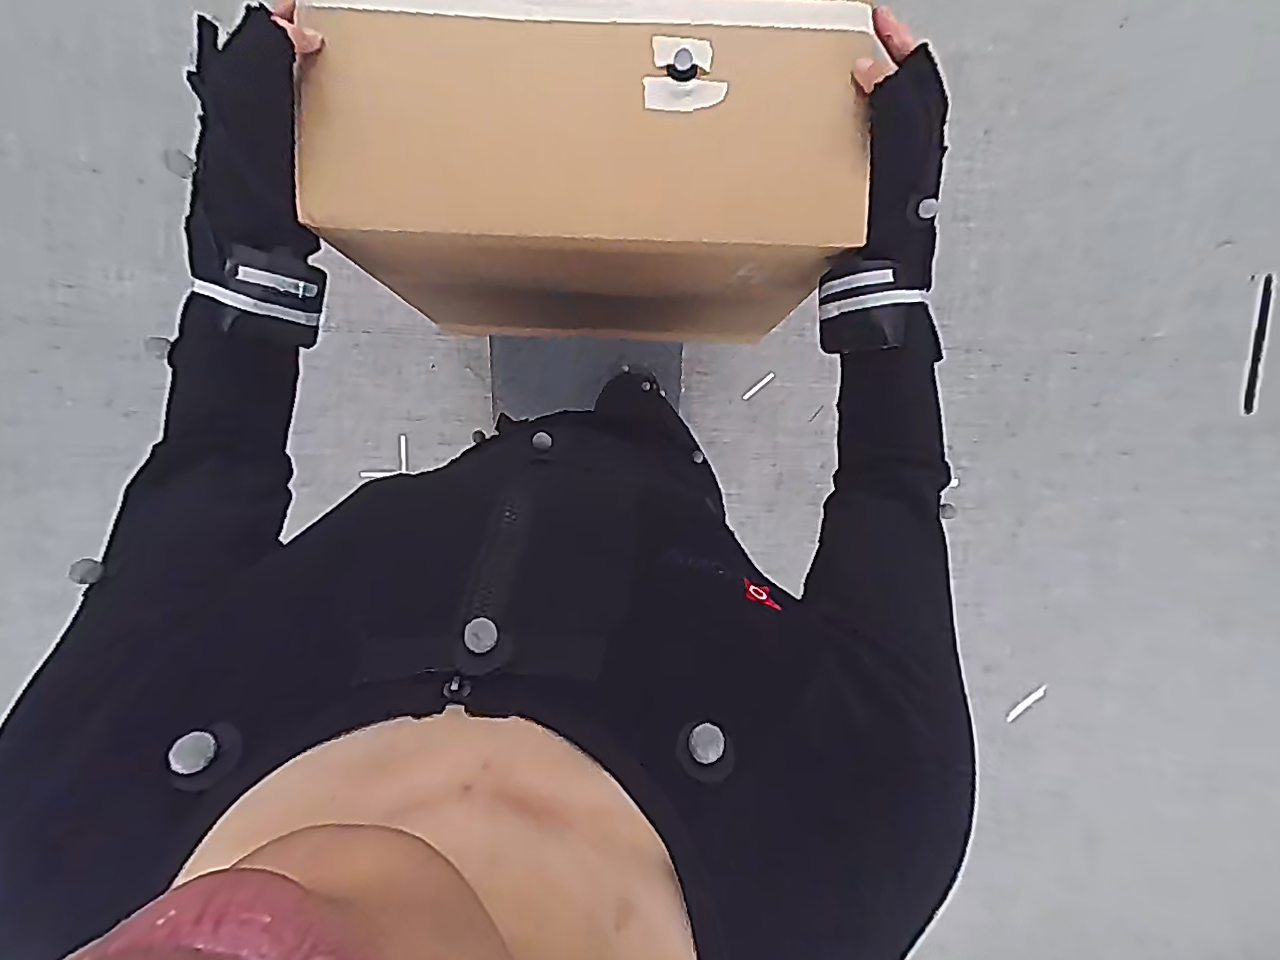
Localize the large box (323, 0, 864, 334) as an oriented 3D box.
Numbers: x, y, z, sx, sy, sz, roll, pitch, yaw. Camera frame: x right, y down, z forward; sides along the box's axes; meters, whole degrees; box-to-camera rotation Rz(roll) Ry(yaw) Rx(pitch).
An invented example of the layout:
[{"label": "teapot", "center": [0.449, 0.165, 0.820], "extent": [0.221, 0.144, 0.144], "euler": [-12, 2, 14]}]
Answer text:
[{"label": "large box", "center": [-0.037, -0.340, 0.547], "extent": [0.408, 0.320, 0.320], "euler": [1, 92, -2]}]
